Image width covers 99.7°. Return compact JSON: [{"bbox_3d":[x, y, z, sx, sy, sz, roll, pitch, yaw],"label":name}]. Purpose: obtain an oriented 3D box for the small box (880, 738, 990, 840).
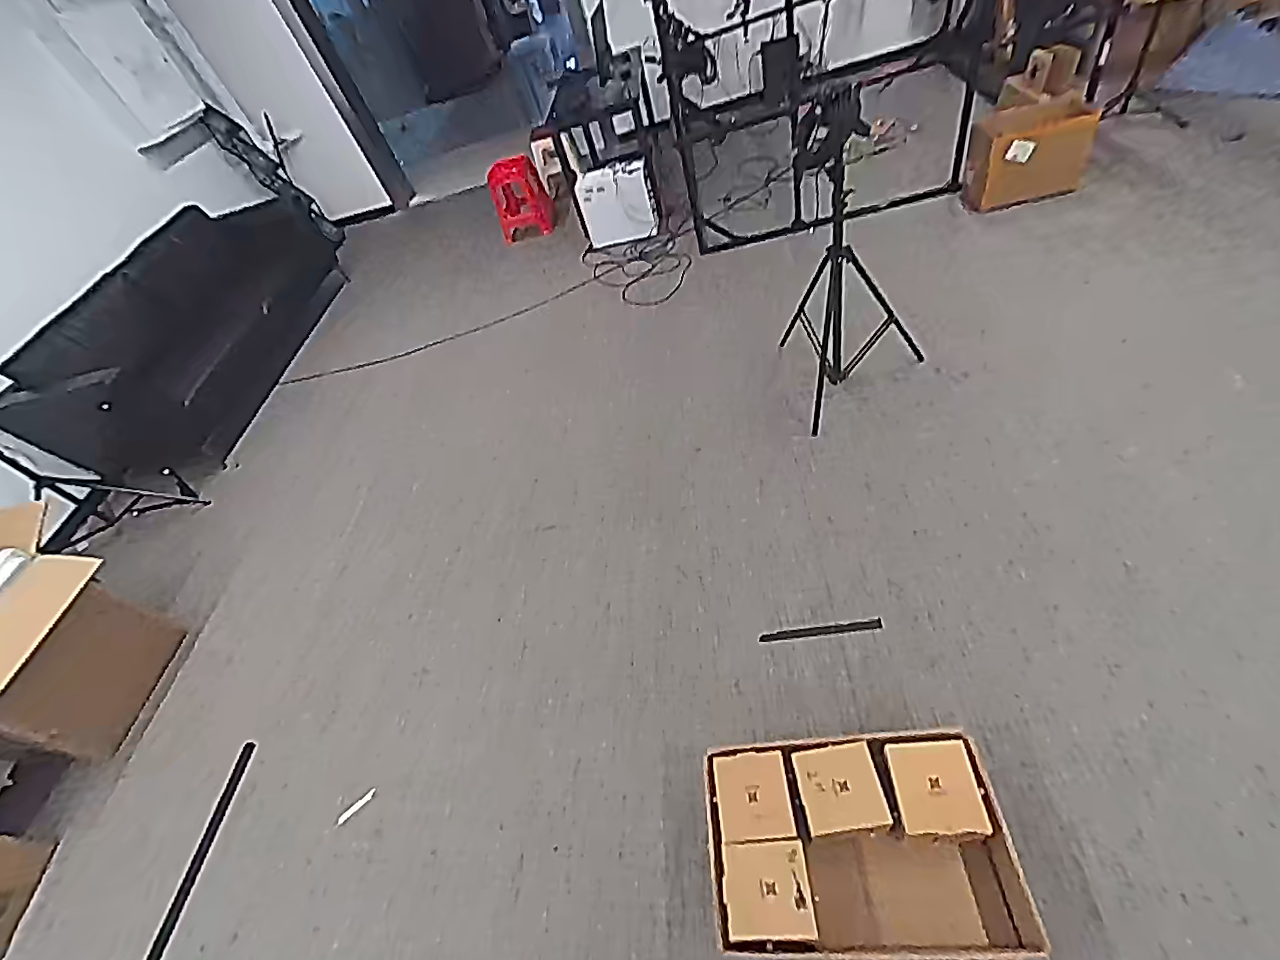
[{"bbox_3d":[0.651,0.699,1.219,0.168,0.176,0.179,-10,51,13],"label":"small box"}]
